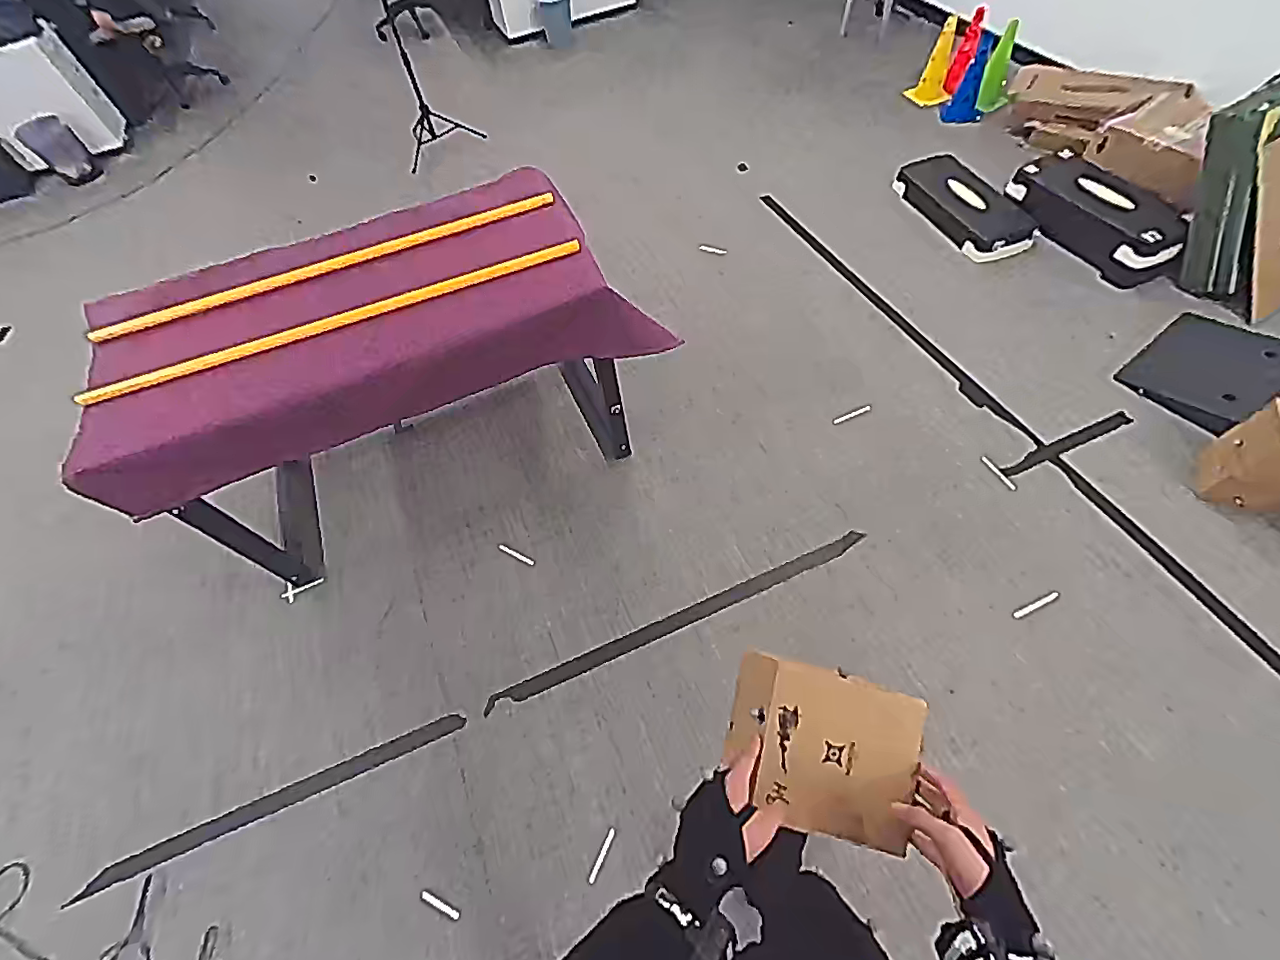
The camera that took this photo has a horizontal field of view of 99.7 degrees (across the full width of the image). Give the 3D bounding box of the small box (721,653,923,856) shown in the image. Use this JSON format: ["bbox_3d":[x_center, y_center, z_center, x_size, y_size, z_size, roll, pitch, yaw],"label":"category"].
[{"bbox_3d":[0.216,0.325,0.680,0.179,0.176,0.168,15,78,0],"label":"small box"}]
